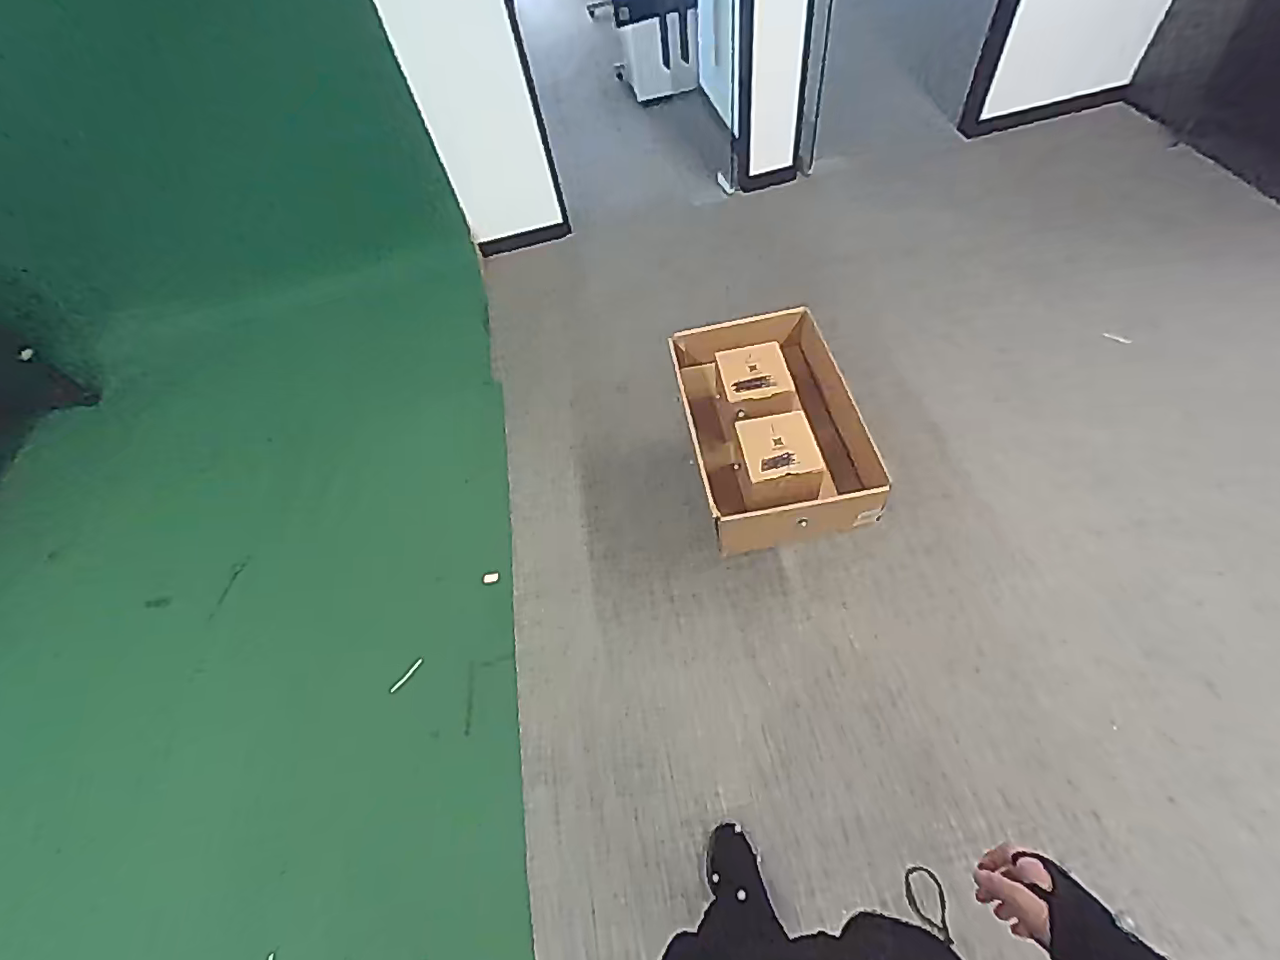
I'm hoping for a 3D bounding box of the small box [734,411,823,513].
[{"bbox_3d":[0.322,-0.035,1.288,0.168,0.176,0.179,-10,55,2],"label":"small box"}]
